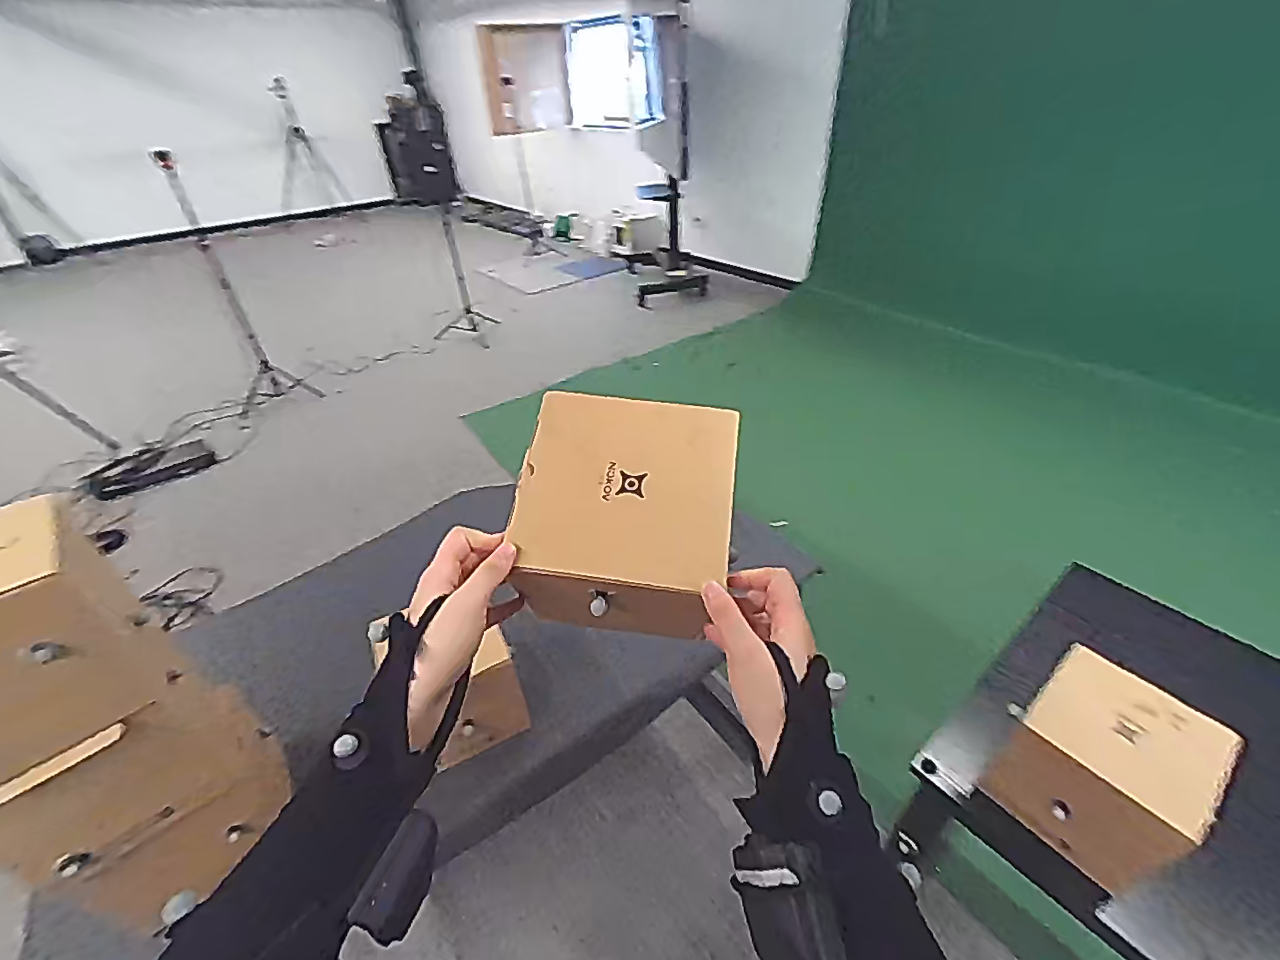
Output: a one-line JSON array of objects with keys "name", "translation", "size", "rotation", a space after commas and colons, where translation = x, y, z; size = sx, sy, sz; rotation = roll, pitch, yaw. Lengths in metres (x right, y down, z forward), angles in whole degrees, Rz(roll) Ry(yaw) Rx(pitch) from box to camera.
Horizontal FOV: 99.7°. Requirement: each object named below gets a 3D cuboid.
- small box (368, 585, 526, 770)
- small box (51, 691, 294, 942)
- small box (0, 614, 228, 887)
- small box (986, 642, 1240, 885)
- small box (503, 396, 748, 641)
[{"name": "small box", "translation": [-0.283, 0.299, 0.810], "size": [0.168, 0.176, 0.179], "rotation": [-21, 39, -21]}, {"name": "small box", "translation": [-0.567, 0.415, 0.680], "size": [0.179, 0.176, 0.168], "rotation": [-28, 41, -29]}, {"name": "small box", "translation": [-0.583, 0.287, 0.578], "size": [0.168, 0.176, 0.179], "rotation": [-30, 42, -32]}, {"name": "small box", "translation": [0.567, 0.348, 0.672], "size": [0.179, 0.176, 0.168], "rotation": [-28, 44, -29]}, {"name": "small box", "translation": [-0.003, 0.044, 0.502], "size": [0.179, 0.176, 0.168], "rotation": [6, 63, 6]}]
